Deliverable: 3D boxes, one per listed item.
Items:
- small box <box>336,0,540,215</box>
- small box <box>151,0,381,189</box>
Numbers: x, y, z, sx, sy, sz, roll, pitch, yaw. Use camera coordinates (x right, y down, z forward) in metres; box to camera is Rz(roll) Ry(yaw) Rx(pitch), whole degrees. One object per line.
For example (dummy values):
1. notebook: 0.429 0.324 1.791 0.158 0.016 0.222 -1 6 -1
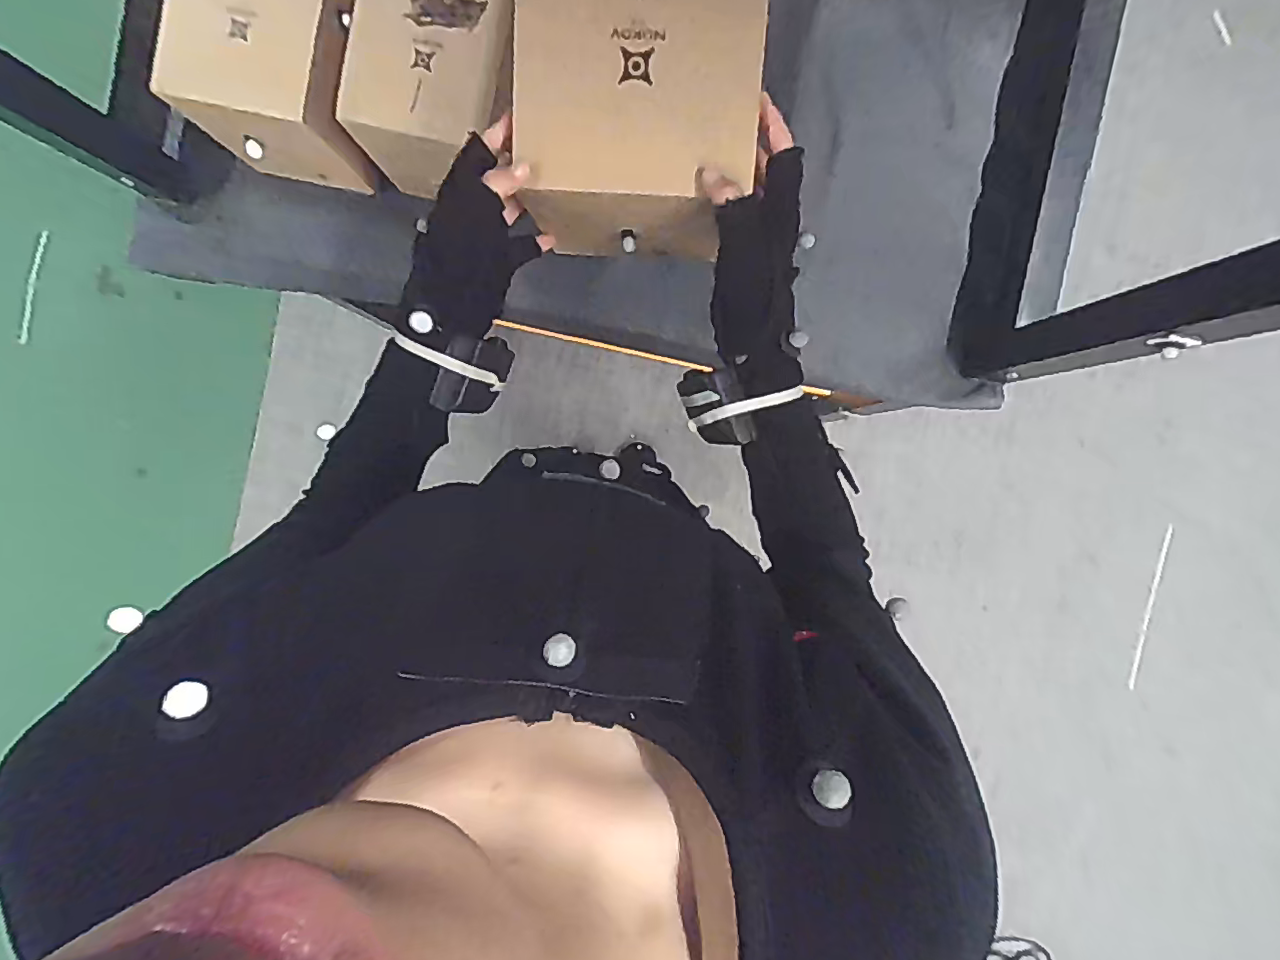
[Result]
1. small box: -0.225 -0.455 0.649 0.168 0.176 0.179 12 93 0
2. small box: -0.420 -0.483 0.646 0.168 0.176 0.179 11 92 -1
